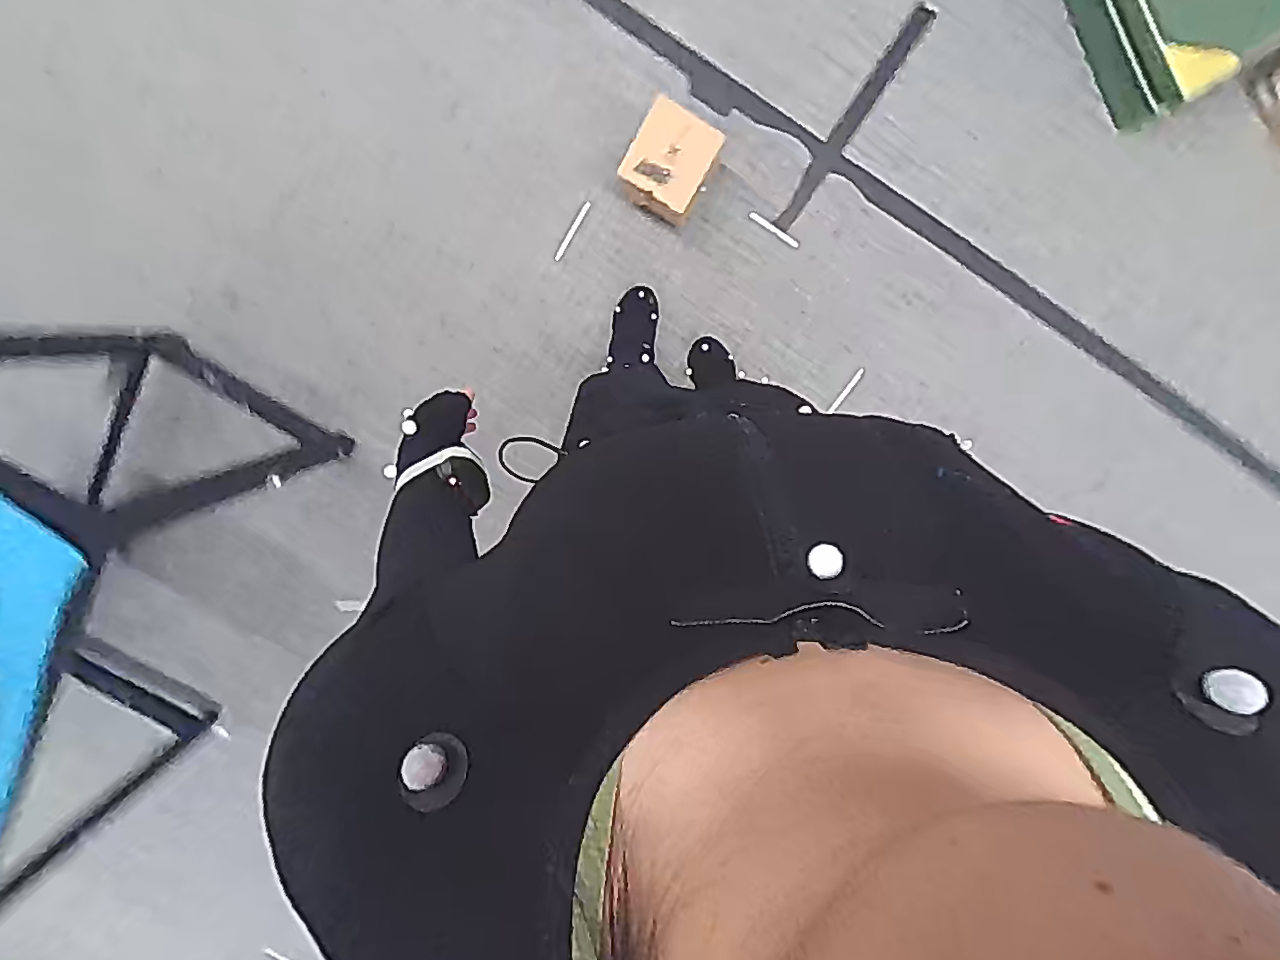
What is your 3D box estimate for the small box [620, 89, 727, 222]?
[{"bbox_3d":[0.076,-0.711,1.211,0.168,0.176,0.179,32,105,-5],"label":"small box"}]
